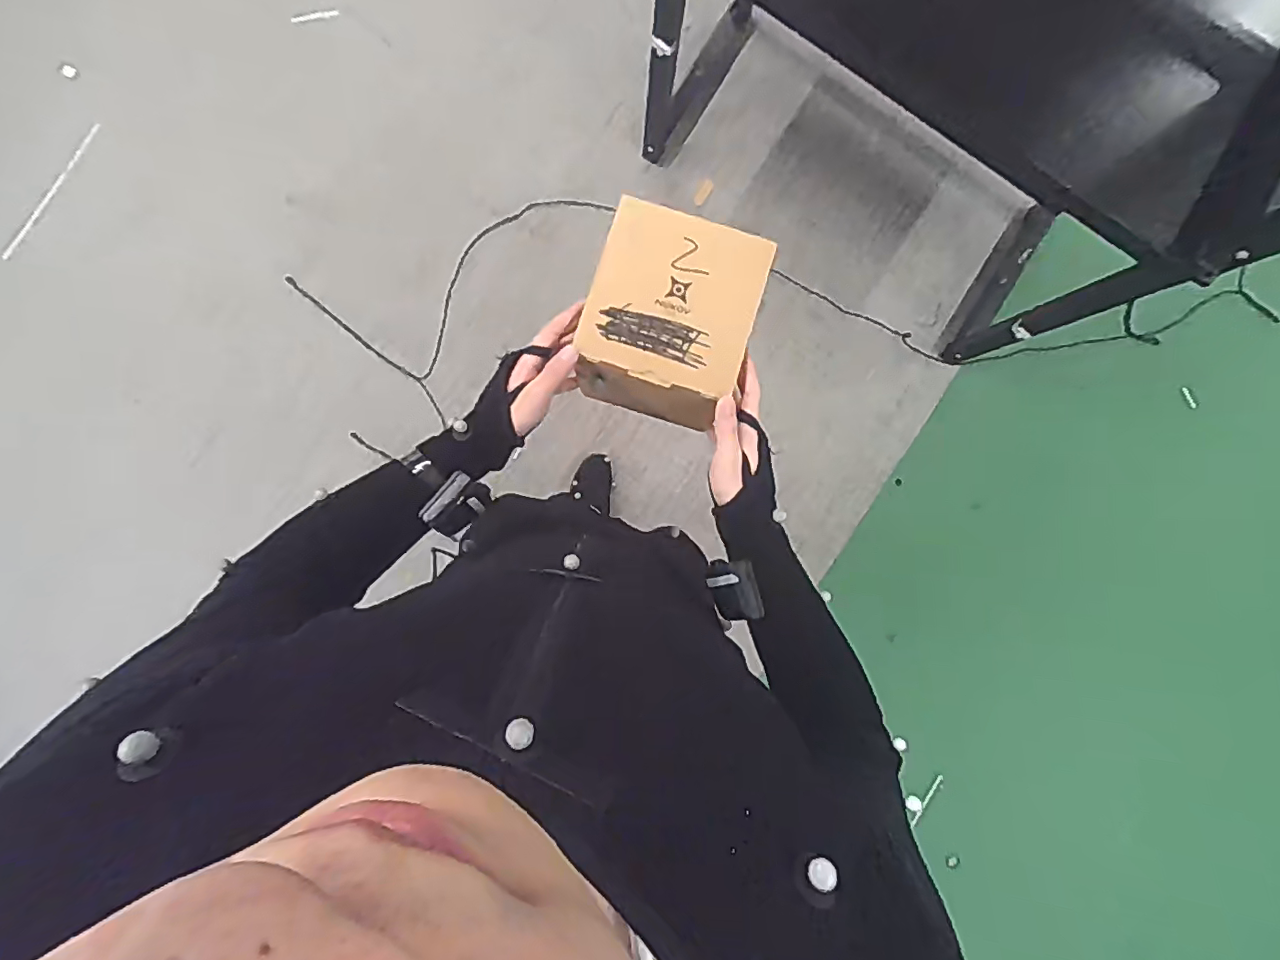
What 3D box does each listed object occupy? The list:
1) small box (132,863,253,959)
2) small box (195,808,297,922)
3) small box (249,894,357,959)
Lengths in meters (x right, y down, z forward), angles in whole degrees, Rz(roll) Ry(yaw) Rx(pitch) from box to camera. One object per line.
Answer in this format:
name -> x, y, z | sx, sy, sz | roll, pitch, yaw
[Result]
small box -> -1.049, 1.041, 1.266 | 0.168, 0.176, 0.179 | 9, 89, -4
small box -> -1.050, 1.014, 1.430 | 0.168, 0.176, 0.179 | 19, 88, -4
small box -> -0.818, 1.144, 1.278 | 0.179, 0.176, 0.168 | 39, 88, -1
